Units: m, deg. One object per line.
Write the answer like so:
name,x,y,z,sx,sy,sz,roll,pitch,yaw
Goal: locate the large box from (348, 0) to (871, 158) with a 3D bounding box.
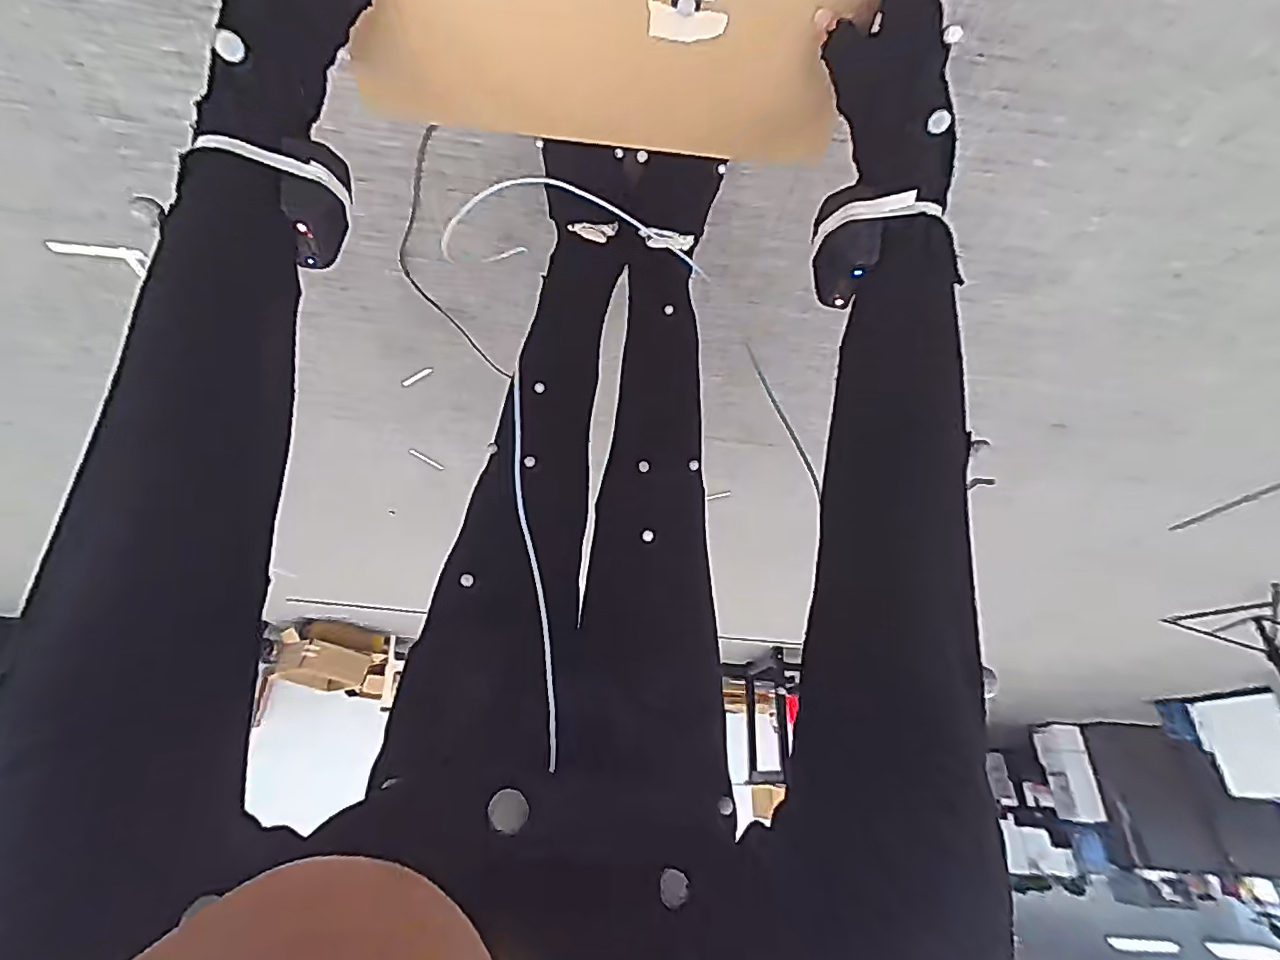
large box,-0.016,-0.517,0.437,0.408,0.320,0.320,5,152,-2
